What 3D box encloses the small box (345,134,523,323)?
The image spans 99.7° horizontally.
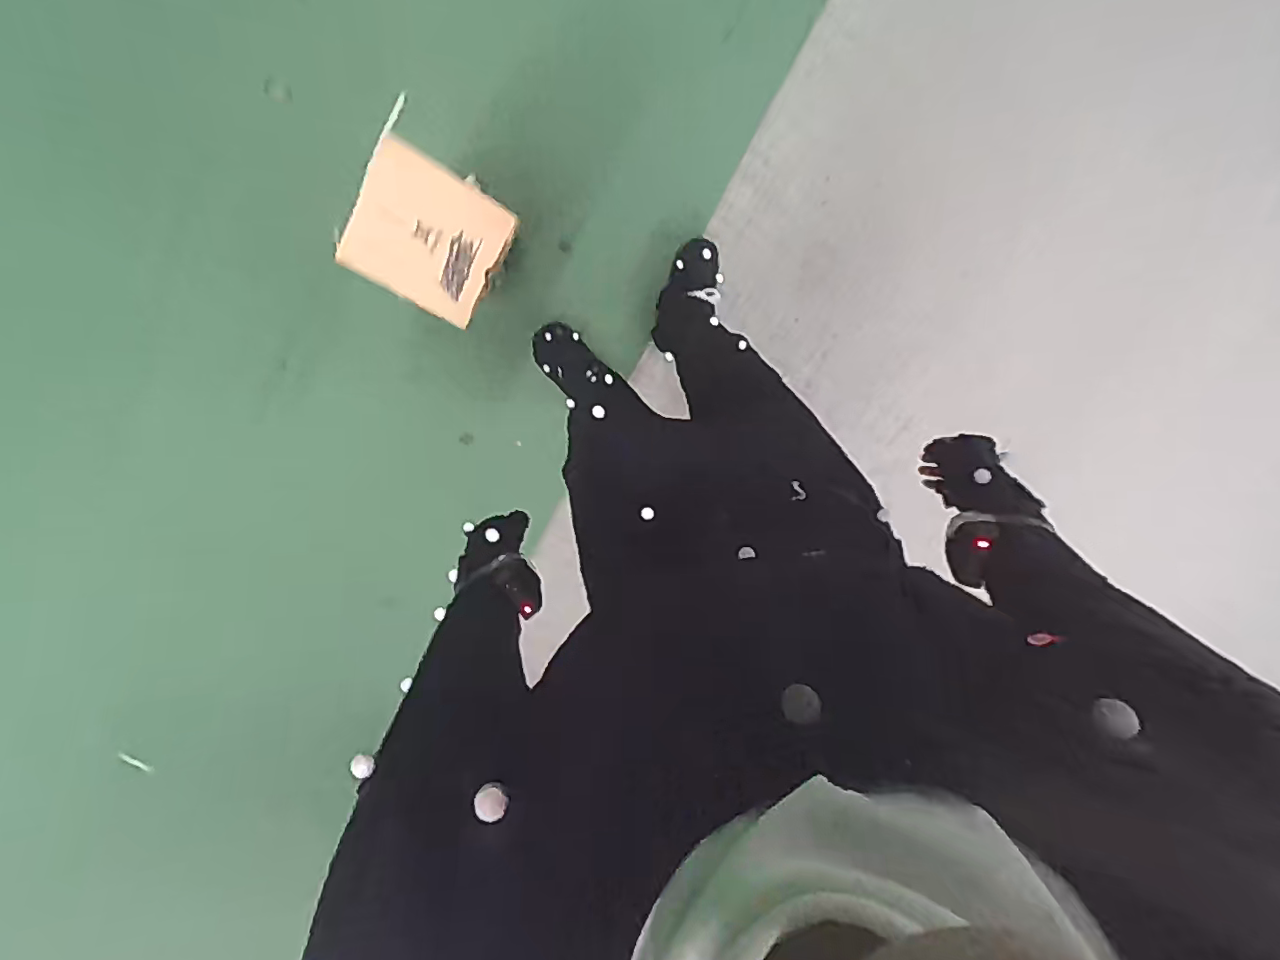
[{"bbox_3d":[-0.282,-0.352,0.775,0.179,0.176,0.168,26,106,-21],"label":"small box"}]
